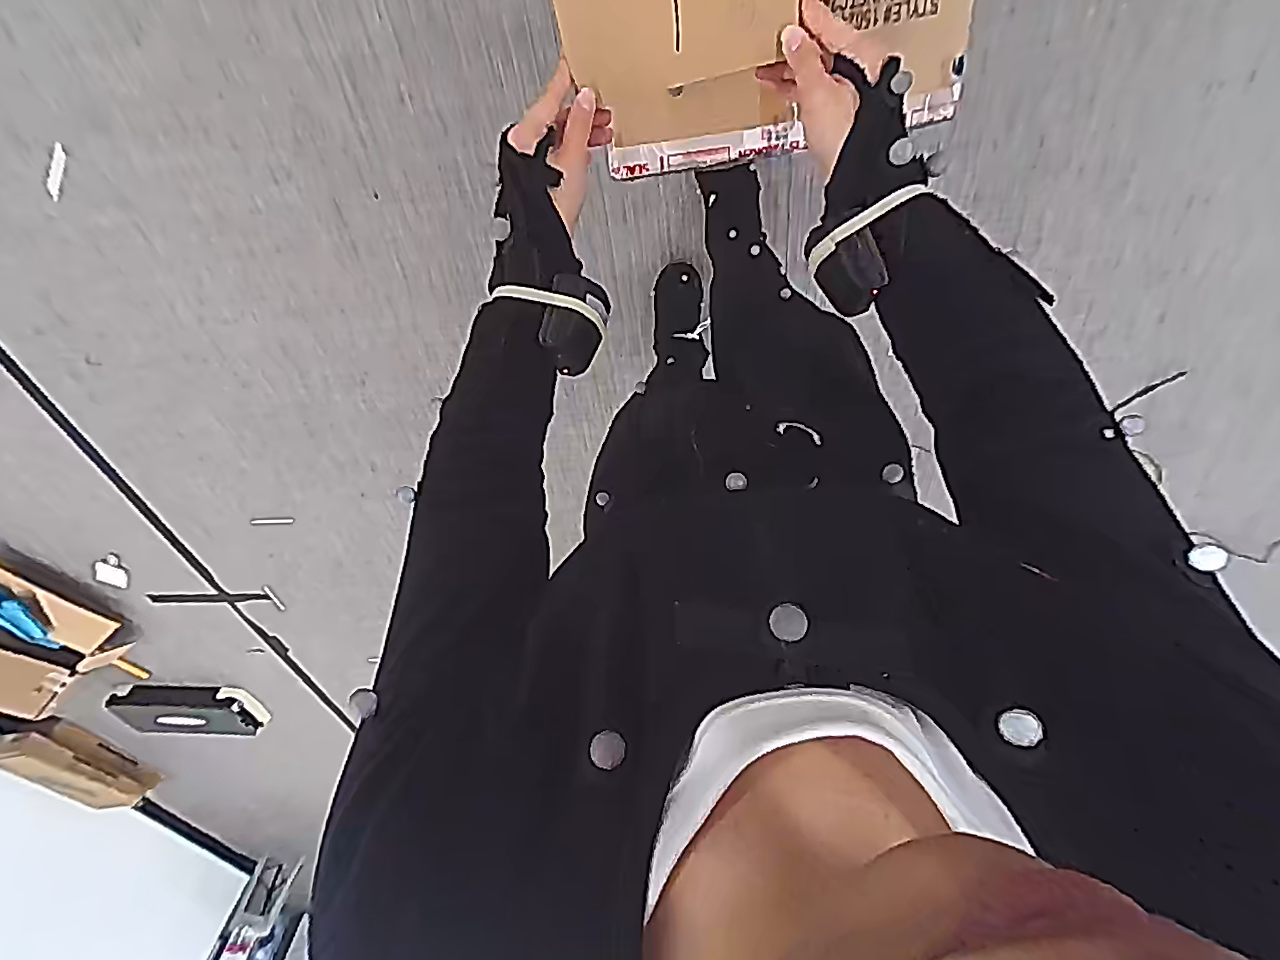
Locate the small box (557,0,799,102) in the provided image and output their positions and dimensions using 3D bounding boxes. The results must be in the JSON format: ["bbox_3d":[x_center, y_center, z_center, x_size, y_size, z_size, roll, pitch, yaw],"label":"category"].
[{"bbox_3d":[0.018,-0.410,0.401,0.168,0.176,0.179,-8,131,9],"label":"small box"}]
